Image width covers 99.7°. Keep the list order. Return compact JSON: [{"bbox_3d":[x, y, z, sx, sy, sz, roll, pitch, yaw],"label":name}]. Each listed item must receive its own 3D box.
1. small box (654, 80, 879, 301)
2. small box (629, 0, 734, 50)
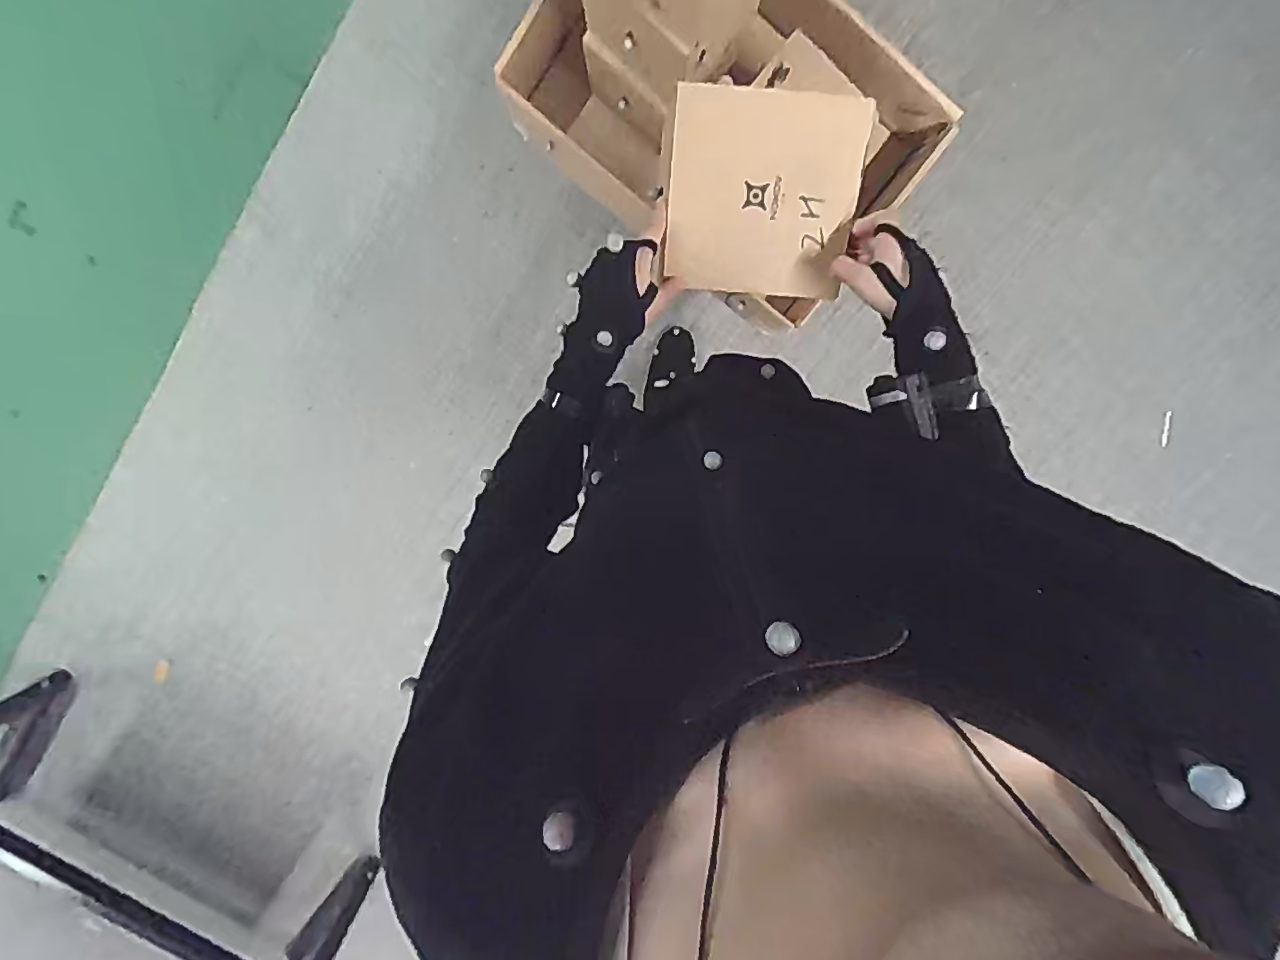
[{"bbox_3d":[0.109,-0.283,0.560,0.179,0.176,0.168,4,112,-3],"label":"small box"},{"bbox_3d":[0.052,-0.595,0.533,0.168,0.176,0.179,35,101,-7],"label":"small box"}]
